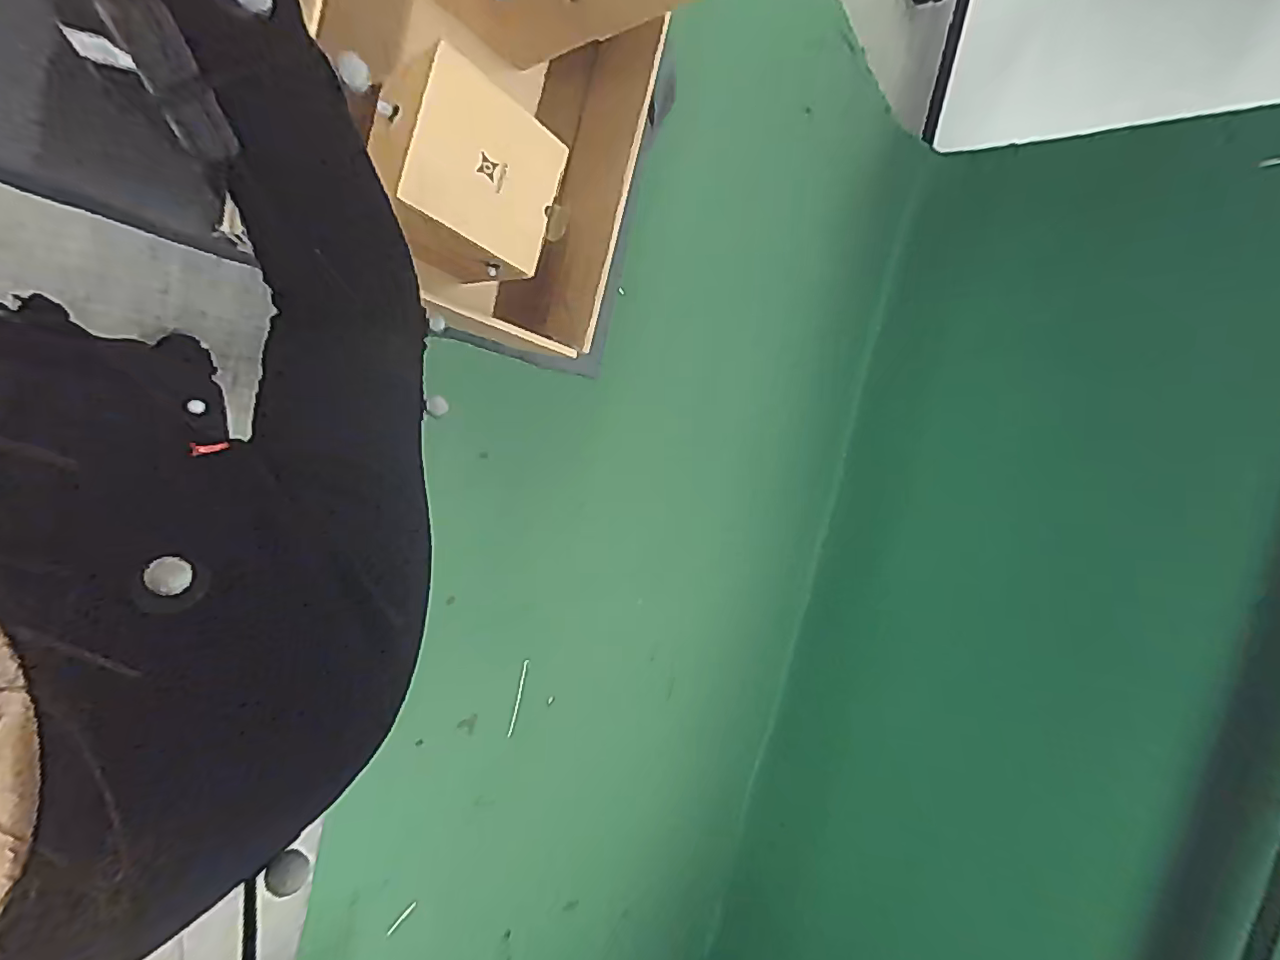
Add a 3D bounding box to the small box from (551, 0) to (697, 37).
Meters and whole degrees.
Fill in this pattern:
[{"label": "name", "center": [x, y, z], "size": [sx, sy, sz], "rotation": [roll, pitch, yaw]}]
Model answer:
[{"label": "small box", "center": [-0.028, -0.600, 0.534], "size": [0.168, 0.176, 0.179], "rotation": [10, 98, -50]}]
